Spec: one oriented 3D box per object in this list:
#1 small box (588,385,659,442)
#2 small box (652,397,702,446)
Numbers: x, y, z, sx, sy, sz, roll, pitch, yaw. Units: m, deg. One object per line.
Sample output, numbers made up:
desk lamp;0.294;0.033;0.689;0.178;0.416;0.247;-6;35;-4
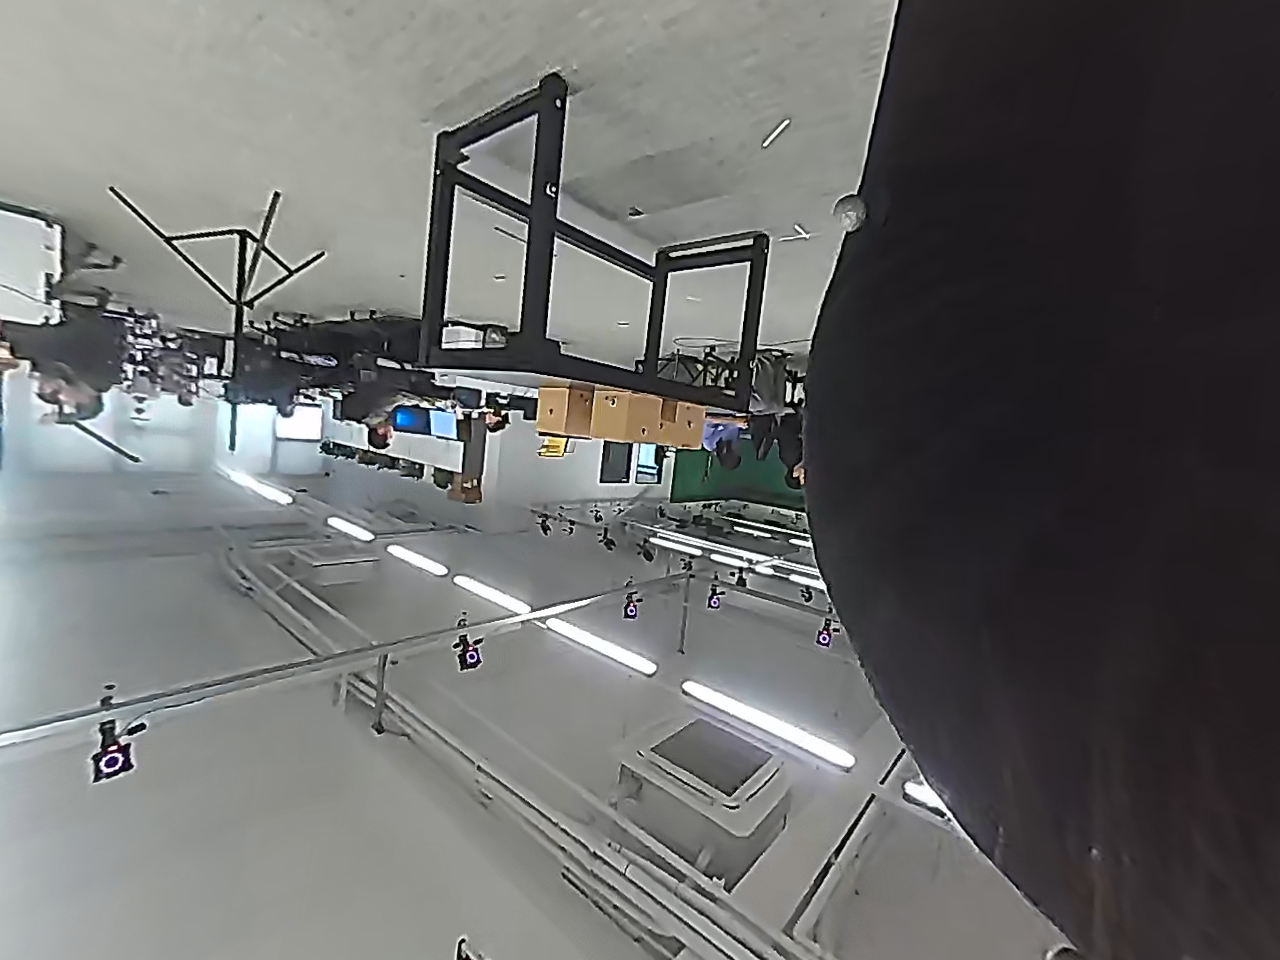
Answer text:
small box;-0.053;-0.225;1.848;0.168;0.176;0.179;10;-174;40
small box;0.119;-0.222;2.040;0.168;0.176;0.179;1;-173;-44
